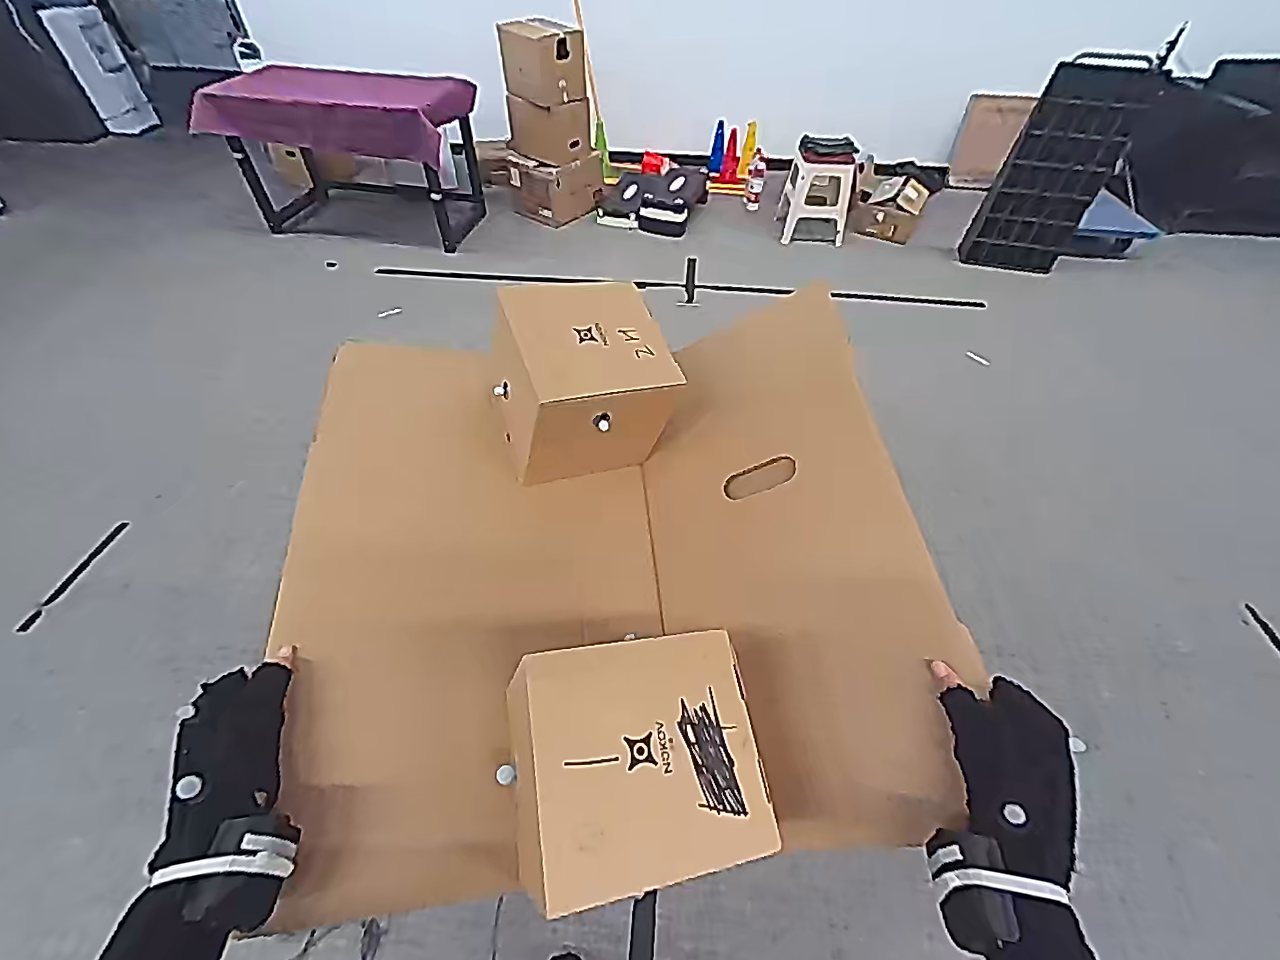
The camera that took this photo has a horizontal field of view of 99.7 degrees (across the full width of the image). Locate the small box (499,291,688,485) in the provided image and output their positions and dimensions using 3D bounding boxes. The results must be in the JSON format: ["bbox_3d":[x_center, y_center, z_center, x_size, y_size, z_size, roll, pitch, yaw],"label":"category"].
[{"bbox_3d":[-0.071,-0.109,0.669,0.179,0.176,0.168,-11,64,-25],"label":"small box"}]
